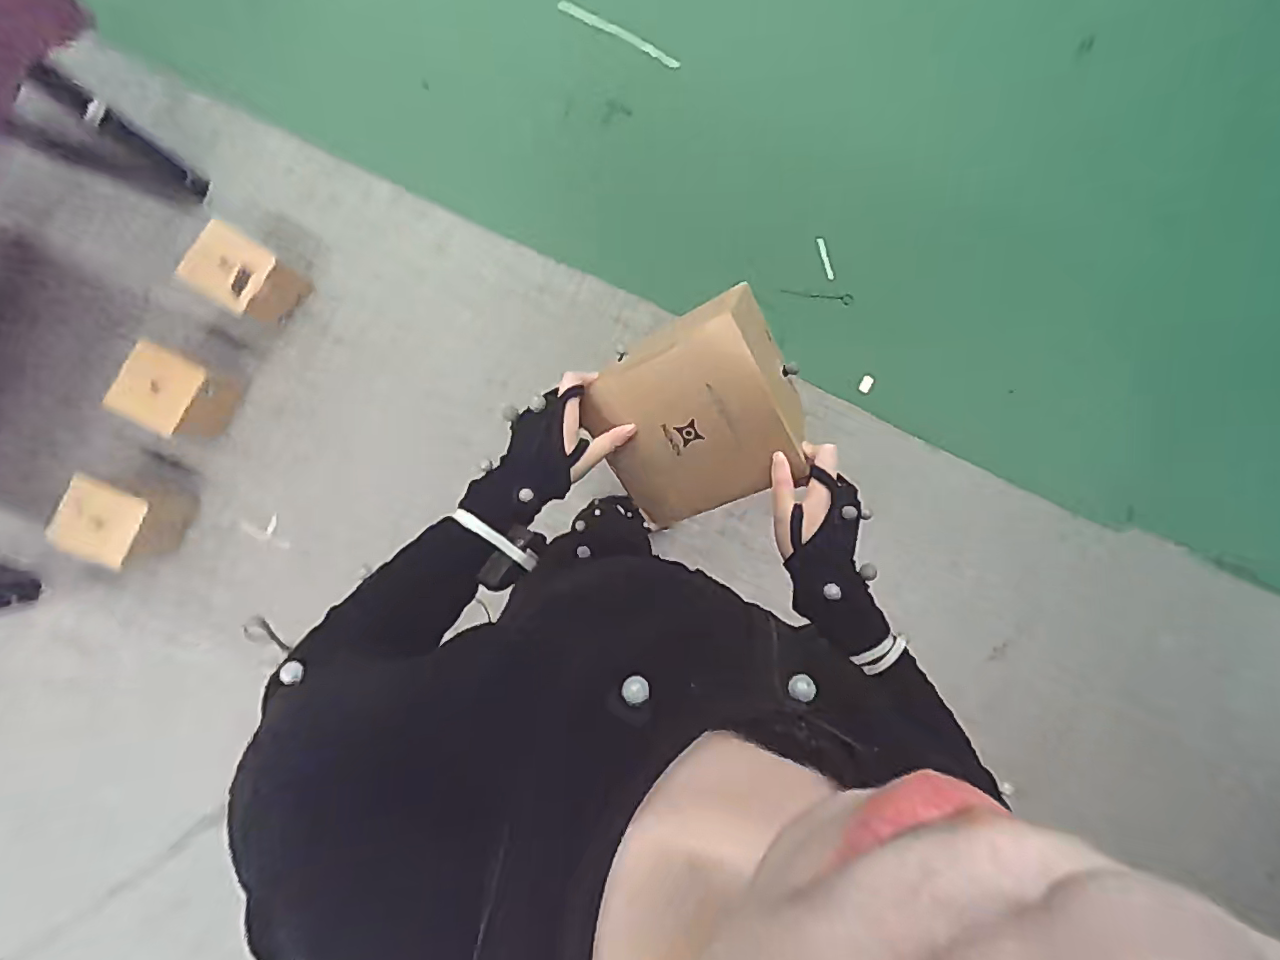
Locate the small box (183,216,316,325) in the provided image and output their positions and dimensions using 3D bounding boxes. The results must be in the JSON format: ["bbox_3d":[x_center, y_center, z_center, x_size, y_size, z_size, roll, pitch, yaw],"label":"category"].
[{"bbox_3d":[-0.963,-0.511,1.352,0.179,0.176,0.168,32,88,1],"label":"small box"}]

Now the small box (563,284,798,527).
[{"bbox_3d":[0.056,-0.083,0.573,0.179,0.176,0.168,-23,110,26],"label":"small box"}]
